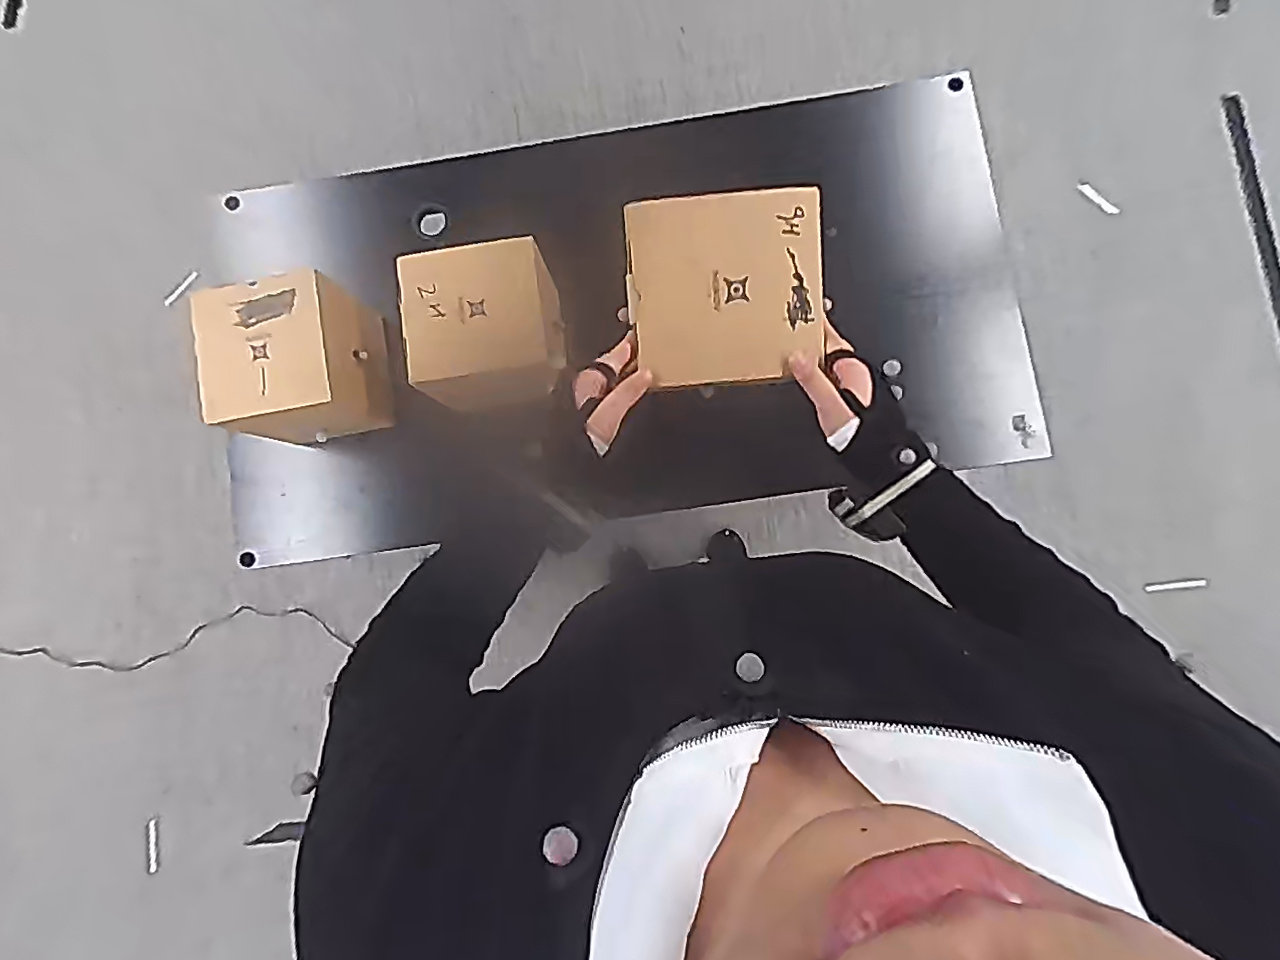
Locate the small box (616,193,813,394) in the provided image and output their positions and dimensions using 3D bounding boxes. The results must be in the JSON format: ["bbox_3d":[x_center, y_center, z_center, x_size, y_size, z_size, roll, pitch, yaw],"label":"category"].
[{"bbox_3d":[0.073,-0.182,0.577,0.179,0.176,0.168,-4,98,2],"label":"small box"}]

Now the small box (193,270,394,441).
[{"bbox_3d":[-0.472,-0.163,0.758,0.168,0.176,0.179,-10,86,2],"label":"small box"}]

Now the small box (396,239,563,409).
[{"bbox_3d":[-0.208,-0.204,0.750,0.179,0.176,0.168,-8,84,2],"label":"small box"}]
